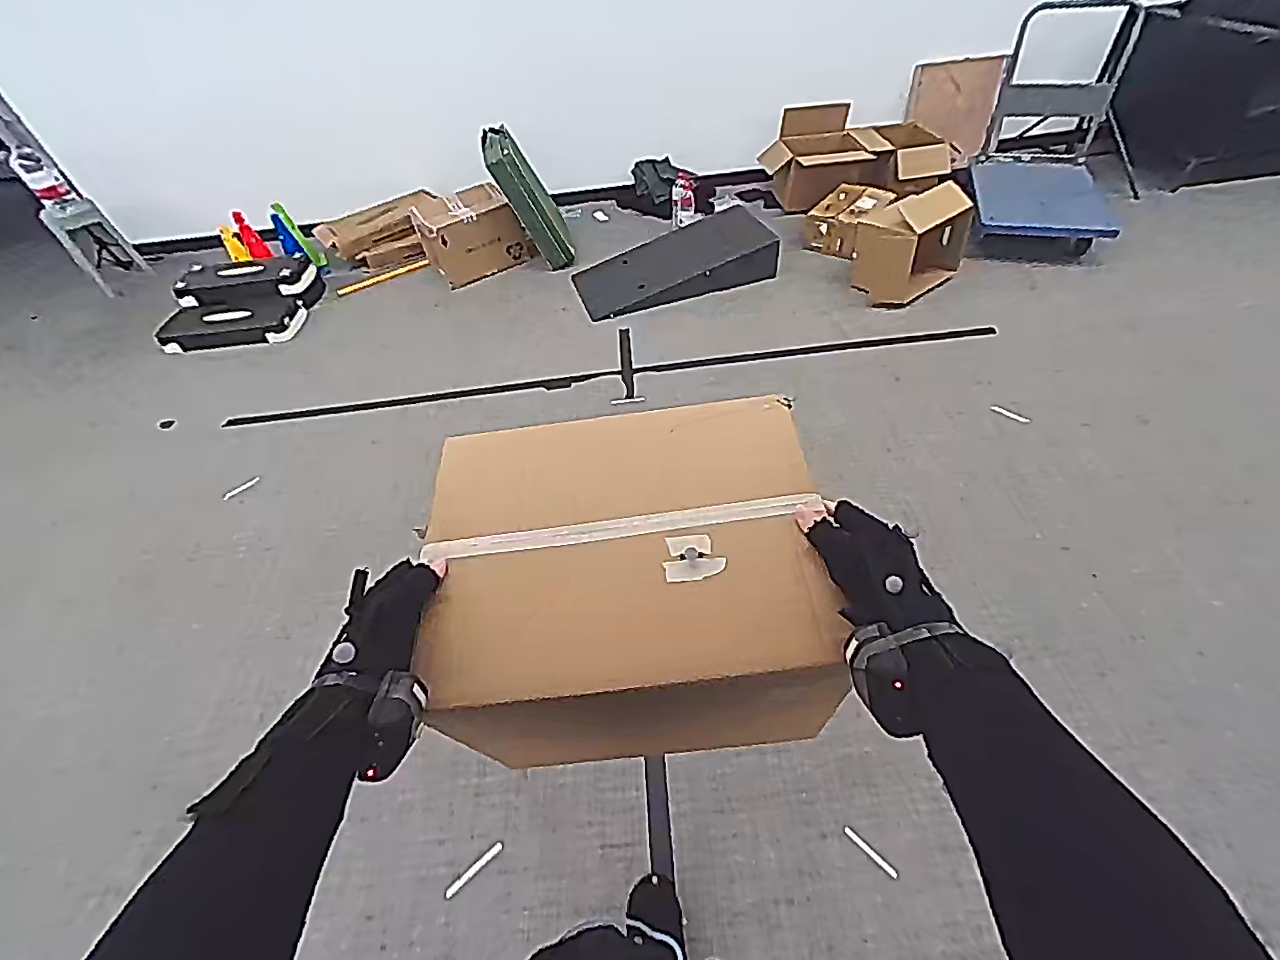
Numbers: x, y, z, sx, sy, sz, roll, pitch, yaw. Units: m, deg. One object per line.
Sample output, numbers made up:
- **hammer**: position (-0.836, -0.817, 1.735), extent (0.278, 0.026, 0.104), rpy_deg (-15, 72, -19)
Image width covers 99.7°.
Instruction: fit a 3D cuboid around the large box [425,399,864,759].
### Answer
- **large box**: position (0.001, 0.137, 0.684), extent (0.408, 0.320, 0.320), rpy_deg (-7, 54, 1)
